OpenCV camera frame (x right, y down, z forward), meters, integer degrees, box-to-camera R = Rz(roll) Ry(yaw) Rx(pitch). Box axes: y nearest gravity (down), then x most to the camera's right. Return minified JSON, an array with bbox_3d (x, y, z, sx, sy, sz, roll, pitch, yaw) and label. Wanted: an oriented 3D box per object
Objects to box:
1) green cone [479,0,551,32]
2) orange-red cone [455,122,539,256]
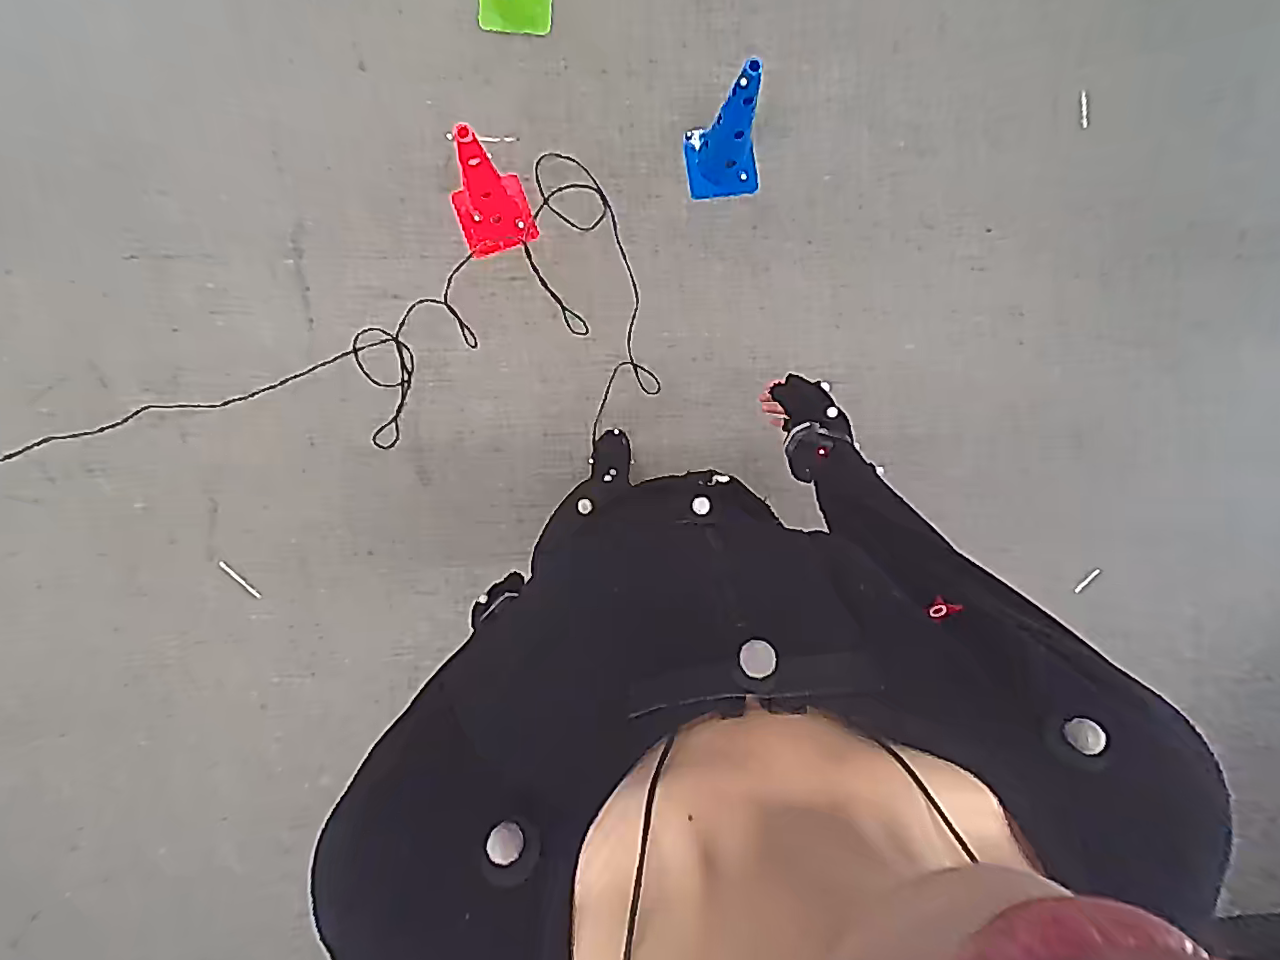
[{"bbox_3d":[-0.339,-1.360,1.342,0.200,0.368,0.202,1,90,-3],"label":"green cone"},{"bbox_3d":[-0.386,-0.740,1.328,0.198,0.360,0.199,-20,88,-5],"label":"orange-red cone"}]
